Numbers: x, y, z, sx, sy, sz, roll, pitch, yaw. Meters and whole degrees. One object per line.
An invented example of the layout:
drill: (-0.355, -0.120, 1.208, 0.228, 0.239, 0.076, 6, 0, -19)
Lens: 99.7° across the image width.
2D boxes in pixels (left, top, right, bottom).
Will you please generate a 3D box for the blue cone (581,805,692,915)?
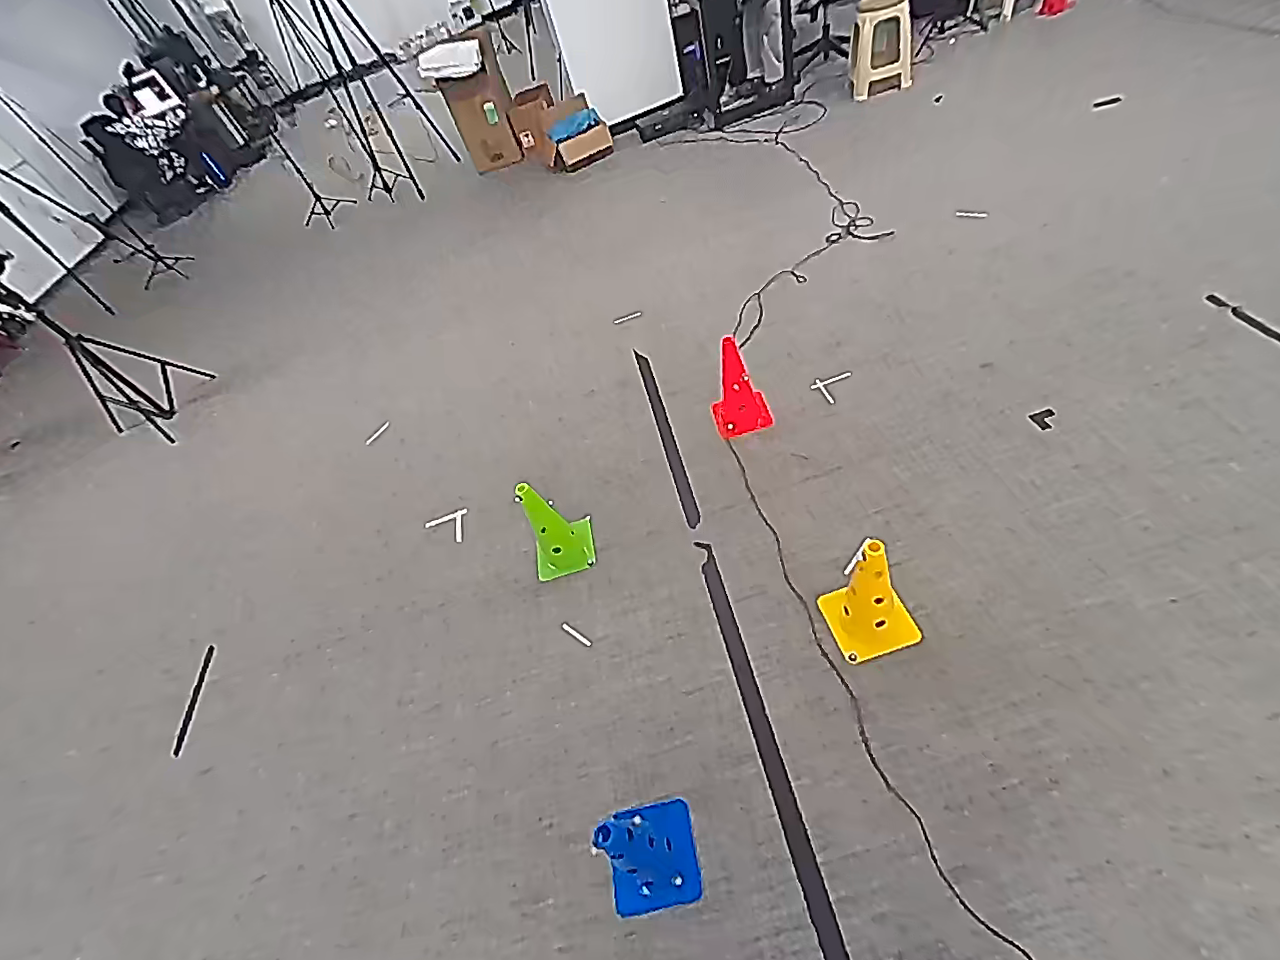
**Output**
blue cone: (-0.027, 0.755, 1.109, 0.192, 0.380, 0.193, -16, 48, 8)

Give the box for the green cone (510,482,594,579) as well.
green cone: (-0.308, 0.126, 1.718, 0.202, 0.368, 0.200, -19, 48, 5)

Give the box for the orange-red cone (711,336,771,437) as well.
orange-red cone: (0.330, -0.350, 1.890, 0.199, 0.360, 0.198, -14, 50, 7)
